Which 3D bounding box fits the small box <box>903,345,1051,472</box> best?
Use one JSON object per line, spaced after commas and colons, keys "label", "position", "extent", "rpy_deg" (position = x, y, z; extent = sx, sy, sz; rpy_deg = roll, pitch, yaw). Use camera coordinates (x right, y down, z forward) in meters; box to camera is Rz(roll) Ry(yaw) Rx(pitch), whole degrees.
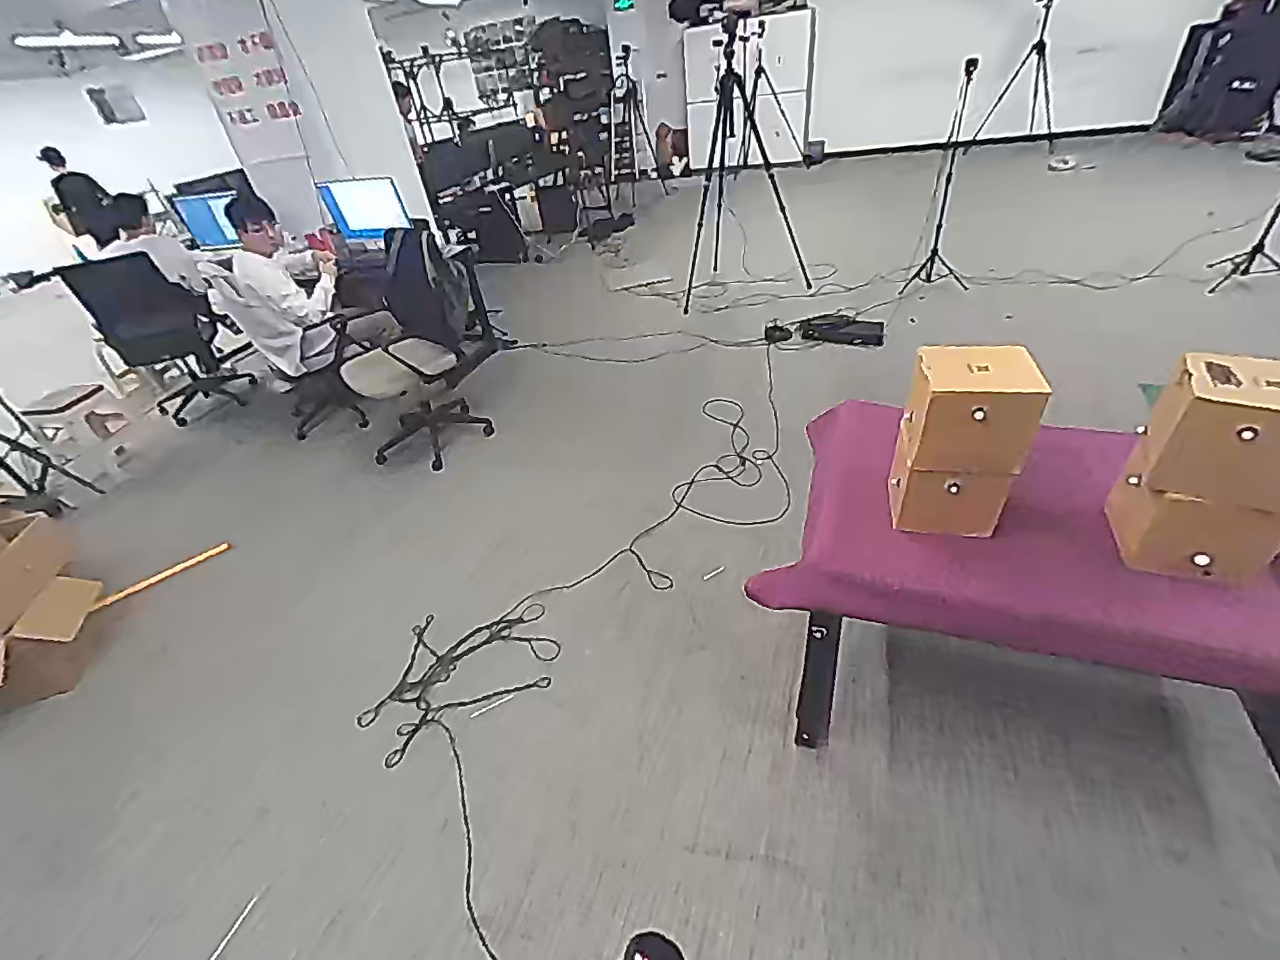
{"label": "small box", "position": [0.589, -0.128, 0.972], "extent": [0.179, 0.176, 0.168], "rpy_deg": [3, 40, 16]}

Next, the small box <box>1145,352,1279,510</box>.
{"label": "small box", "position": [0.919, -0.078, 0.833], "extent": [0.179, 0.176, 0.168], "rpy_deg": [18, 44, 30]}

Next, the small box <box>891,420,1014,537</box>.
{"label": "small box", "position": [0.605, -0.004, 1.075], "extent": [0.179, 0.176, 0.168], "rpy_deg": [5, 40, 17]}

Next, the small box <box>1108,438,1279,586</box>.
{"label": "small box", "position": [0.950, 0.051, 0.930], "extent": [0.168, 0.176, 0.179], "rpy_deg": [9, 41, 23]}
